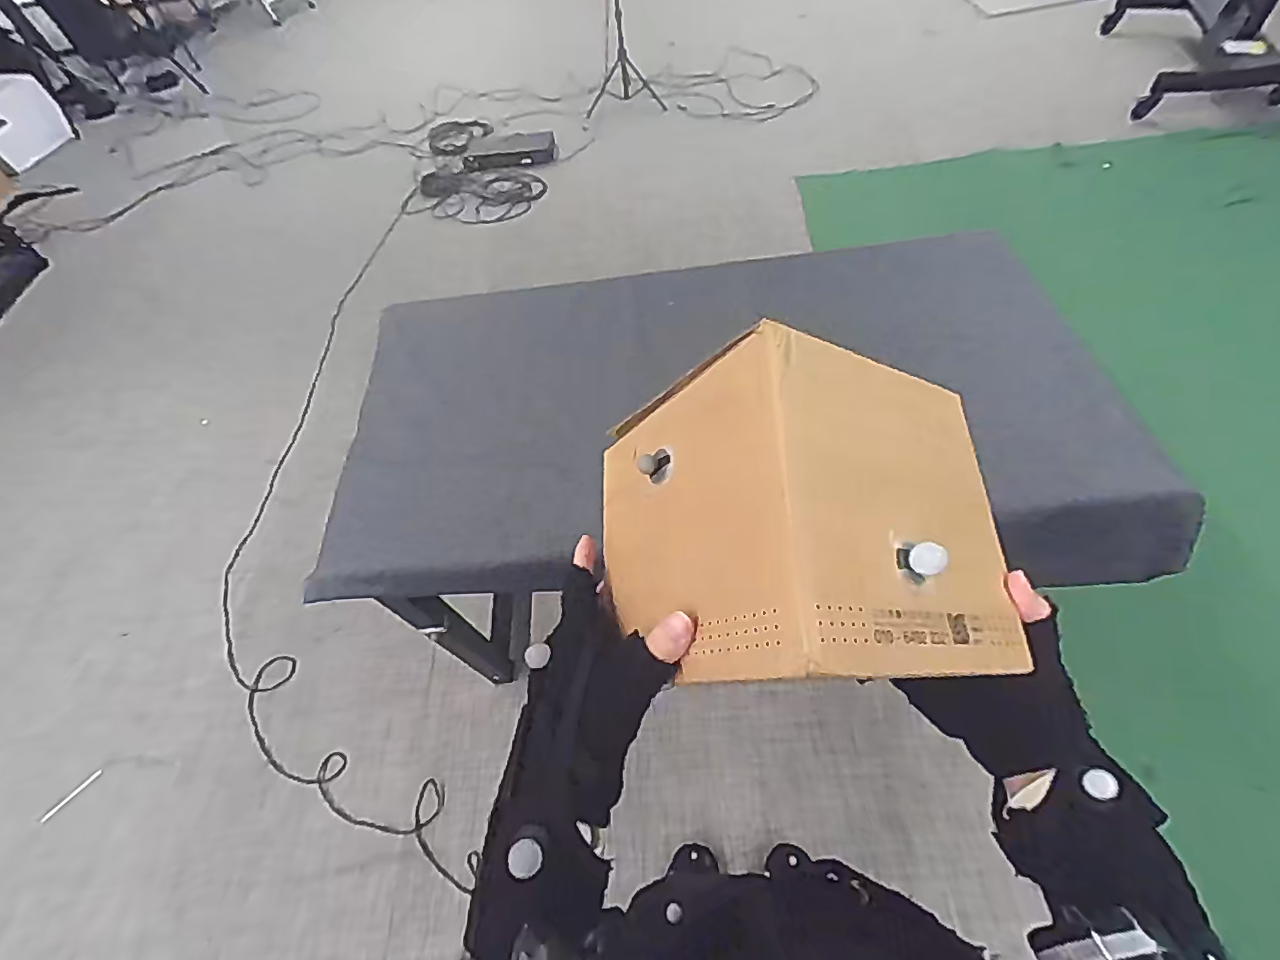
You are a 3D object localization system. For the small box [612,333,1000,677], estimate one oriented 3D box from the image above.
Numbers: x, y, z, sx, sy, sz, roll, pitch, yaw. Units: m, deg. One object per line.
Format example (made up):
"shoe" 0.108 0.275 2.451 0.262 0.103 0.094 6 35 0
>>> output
"small box" 0.090 0.039 0.357 0.168 0.179 0.176 10 67 -28
